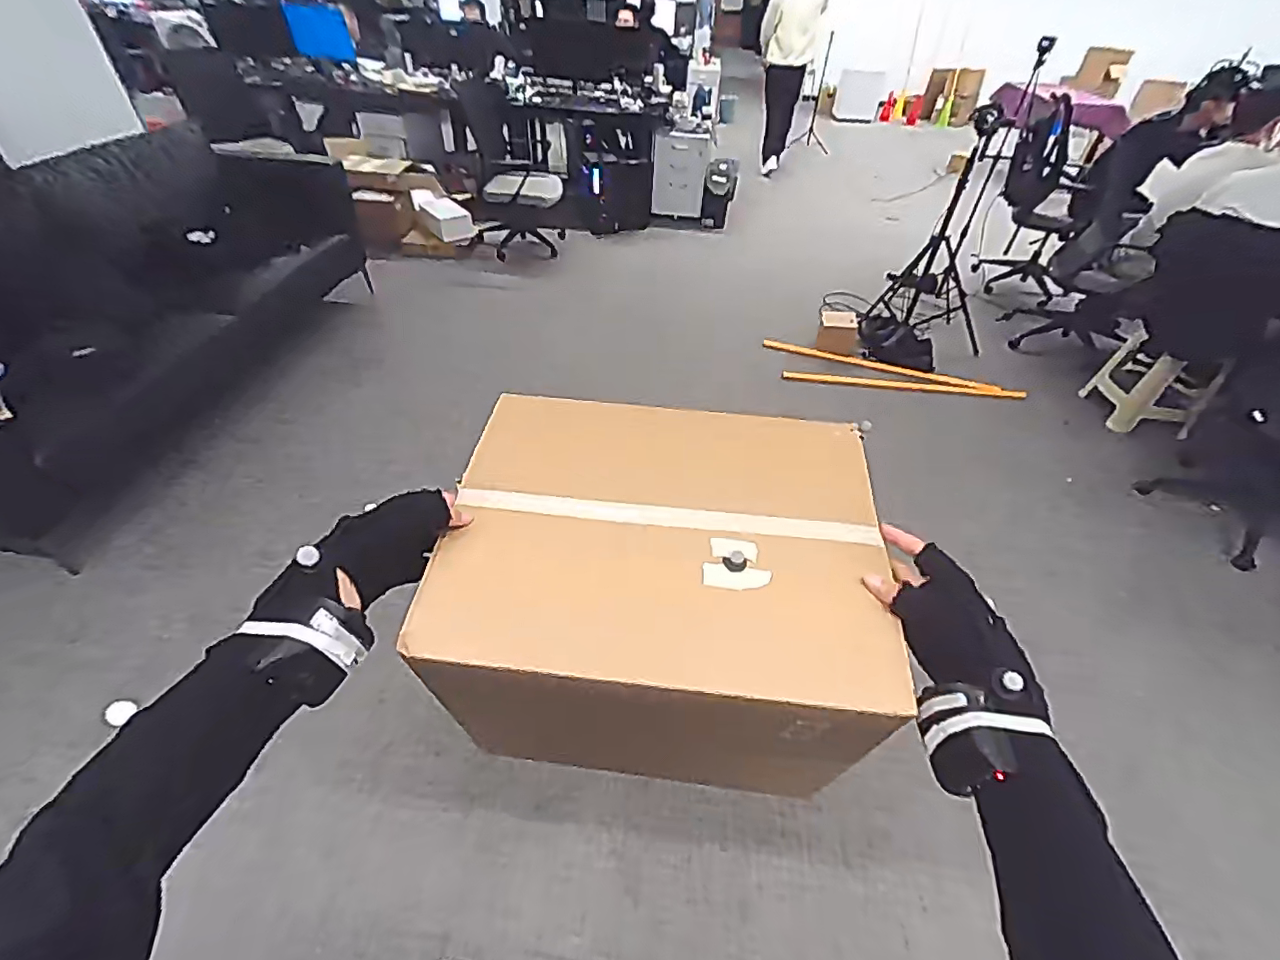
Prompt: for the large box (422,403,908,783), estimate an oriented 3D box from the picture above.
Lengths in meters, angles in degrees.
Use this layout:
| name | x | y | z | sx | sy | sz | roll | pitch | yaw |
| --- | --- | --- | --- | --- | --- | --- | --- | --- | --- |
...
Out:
| name | x | y | z | sx | sy | sz | roll | pitch | yaw |
| --- | --- | --- | --- | --- | --- | --- | --- | --- | --- |
| large box | 0.025 | 0.137 | 0.641 | 0.408 | 0.320 | 0.320 | 6 | 51 | 3 |
